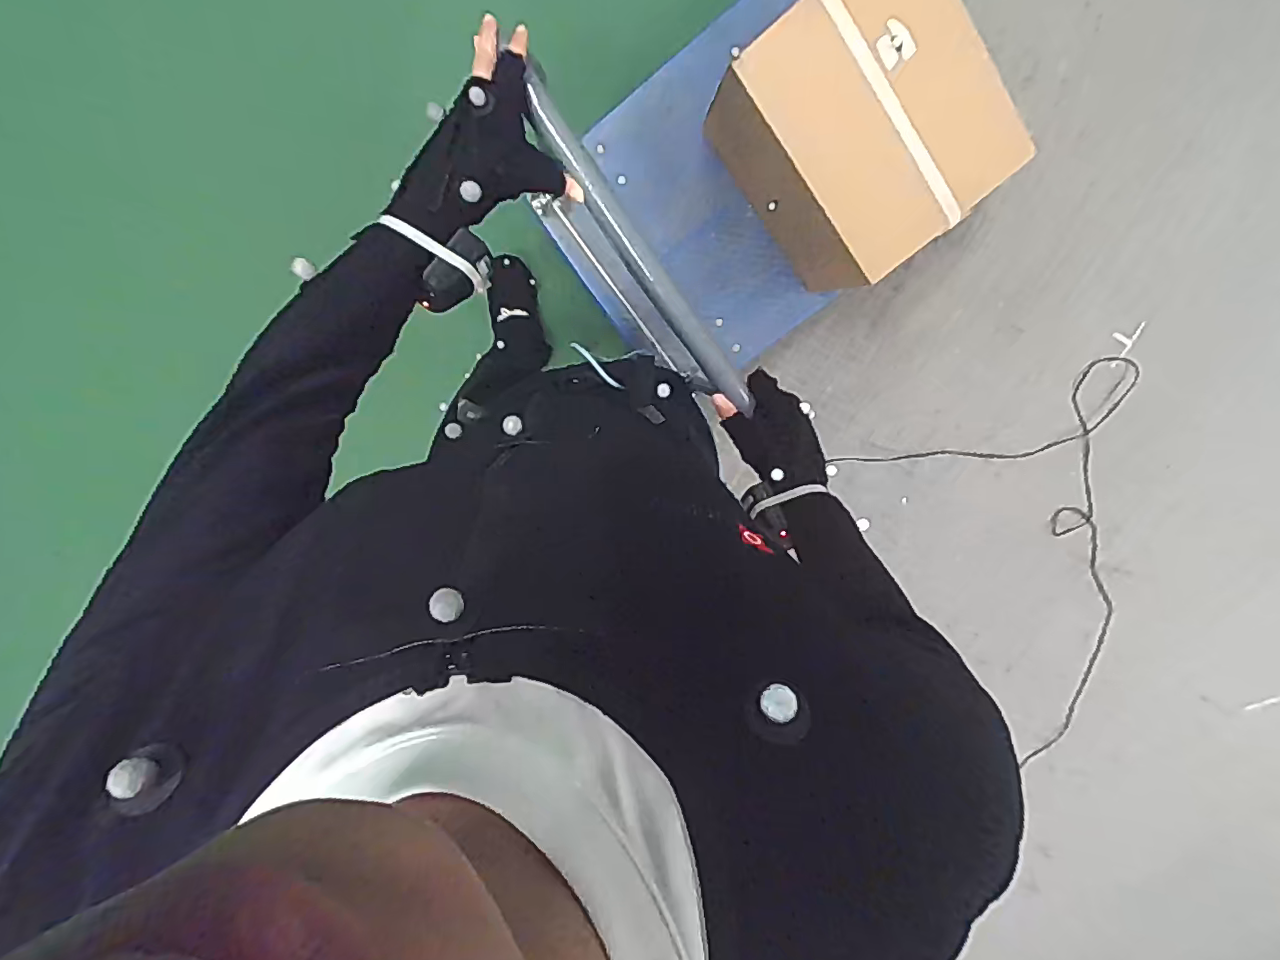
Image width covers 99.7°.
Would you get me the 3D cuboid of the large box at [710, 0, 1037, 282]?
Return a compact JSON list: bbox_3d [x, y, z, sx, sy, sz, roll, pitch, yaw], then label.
[{"bbox_3d":[0.380,-0.620,0.968,0.320,0.320,0.408,-39,104,10],"label":"large box"}]
